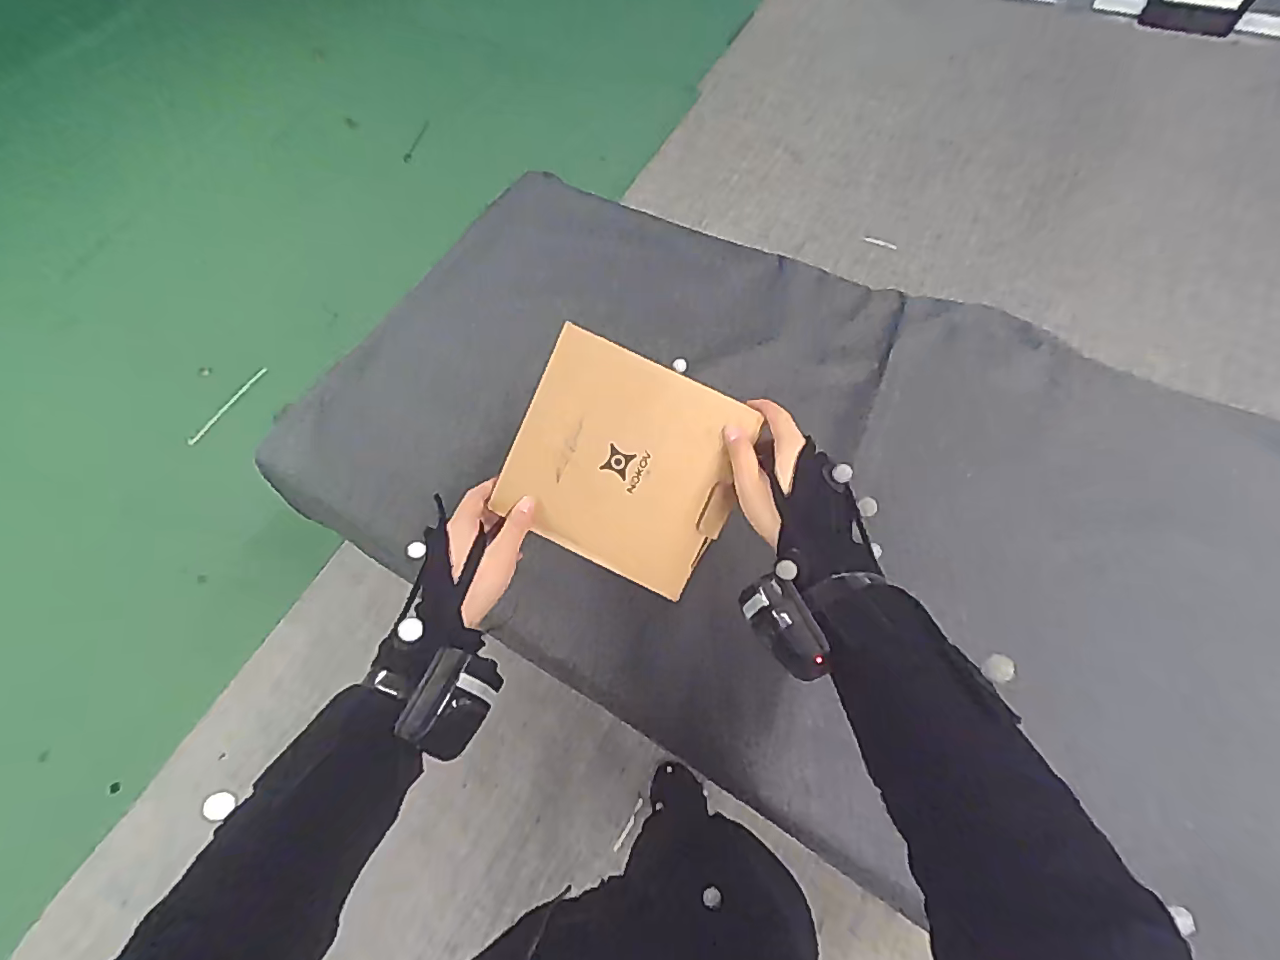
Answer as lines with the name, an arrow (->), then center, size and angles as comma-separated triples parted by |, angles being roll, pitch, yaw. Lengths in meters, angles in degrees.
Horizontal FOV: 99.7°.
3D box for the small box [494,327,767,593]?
small box -> -0.003, -0.023, 0.513 | 0.179, 0.176, 0.168 | 25, 97, 3
